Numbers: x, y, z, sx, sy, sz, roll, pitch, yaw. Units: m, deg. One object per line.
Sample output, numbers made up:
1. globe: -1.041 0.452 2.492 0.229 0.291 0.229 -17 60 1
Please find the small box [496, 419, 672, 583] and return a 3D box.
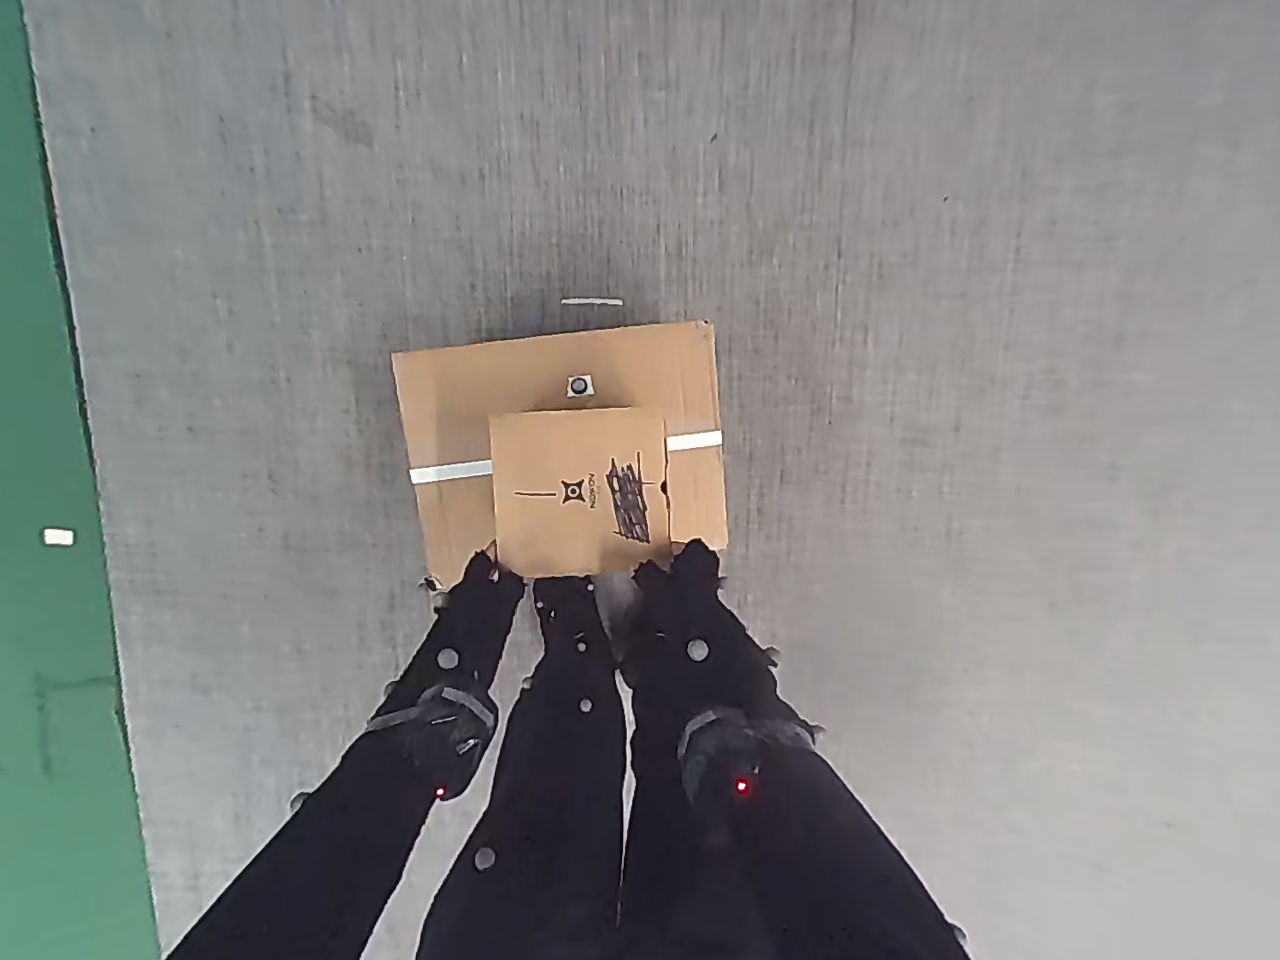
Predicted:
1. small box: -0.060 0.018 0.630 0.179 0.176 0.168 -3 91 -2
